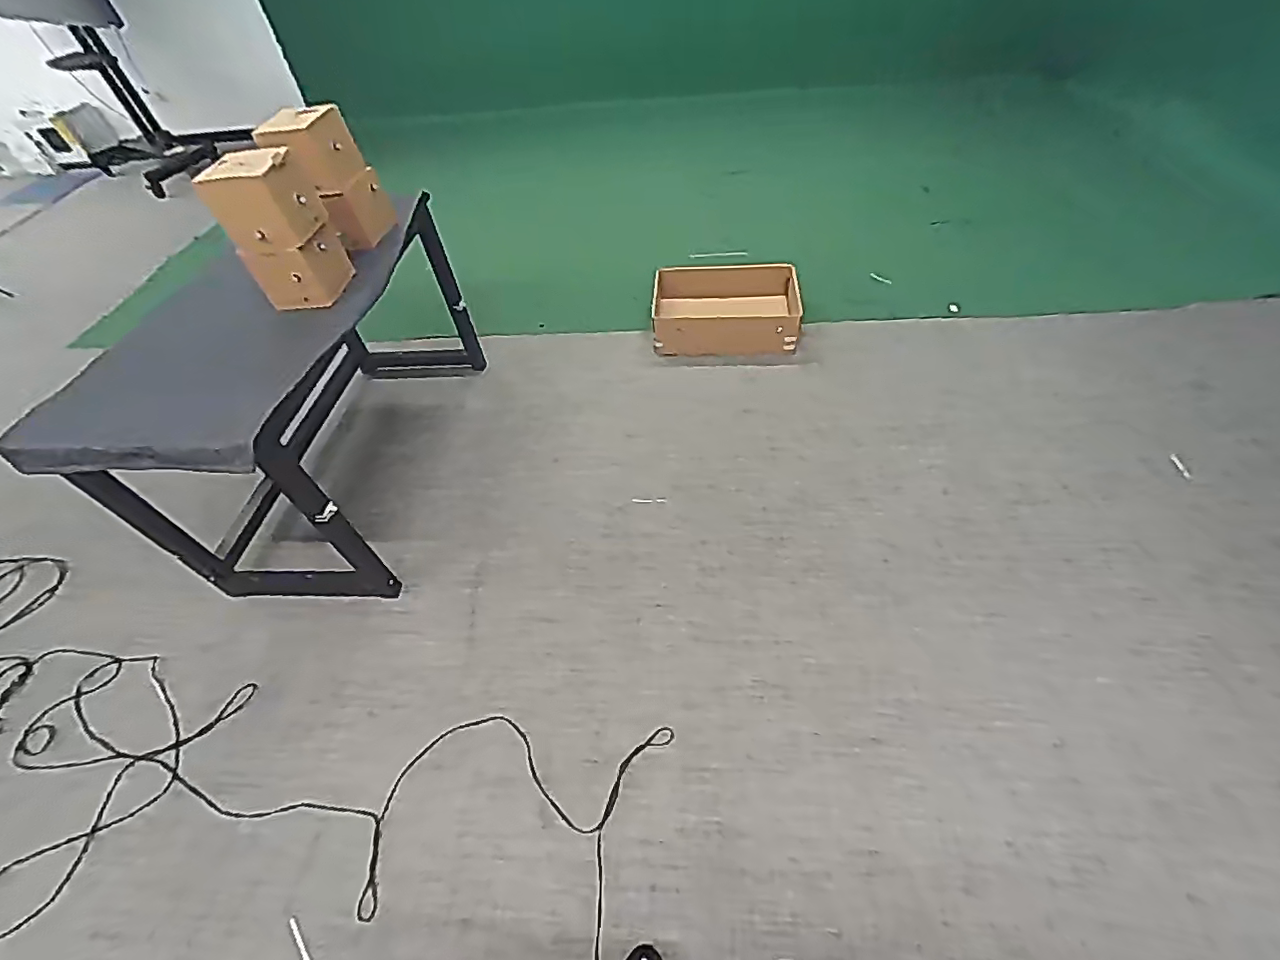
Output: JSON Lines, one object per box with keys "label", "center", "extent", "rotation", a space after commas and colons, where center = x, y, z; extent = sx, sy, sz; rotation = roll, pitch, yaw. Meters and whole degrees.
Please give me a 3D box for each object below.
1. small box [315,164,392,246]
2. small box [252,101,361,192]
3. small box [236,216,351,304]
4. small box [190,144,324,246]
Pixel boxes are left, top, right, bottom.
{"label": "small box", "center": [-0.884, -0.831, 1.637], "extent": [0.168, 0.176, 0.179], "rotation": [2, 52, 10]}
{"label": "small box", "center": [-0.913, -0.924, 1.504], "extent": [0.168, 0.176, 0.179], "rotation": [1, 52, 9]}
{"label": "small box", "center": [-0.909, -0.585, 1.441], "extent": [0.168, 0.176, 0.179], "rotation": [-1, 50, 5]}
{"label": "small box", "center": [-0.913, -0.688, 1.313], "extent": [0.179, 0.176, 0.168], "rotation": [-1, 51, 5]}
